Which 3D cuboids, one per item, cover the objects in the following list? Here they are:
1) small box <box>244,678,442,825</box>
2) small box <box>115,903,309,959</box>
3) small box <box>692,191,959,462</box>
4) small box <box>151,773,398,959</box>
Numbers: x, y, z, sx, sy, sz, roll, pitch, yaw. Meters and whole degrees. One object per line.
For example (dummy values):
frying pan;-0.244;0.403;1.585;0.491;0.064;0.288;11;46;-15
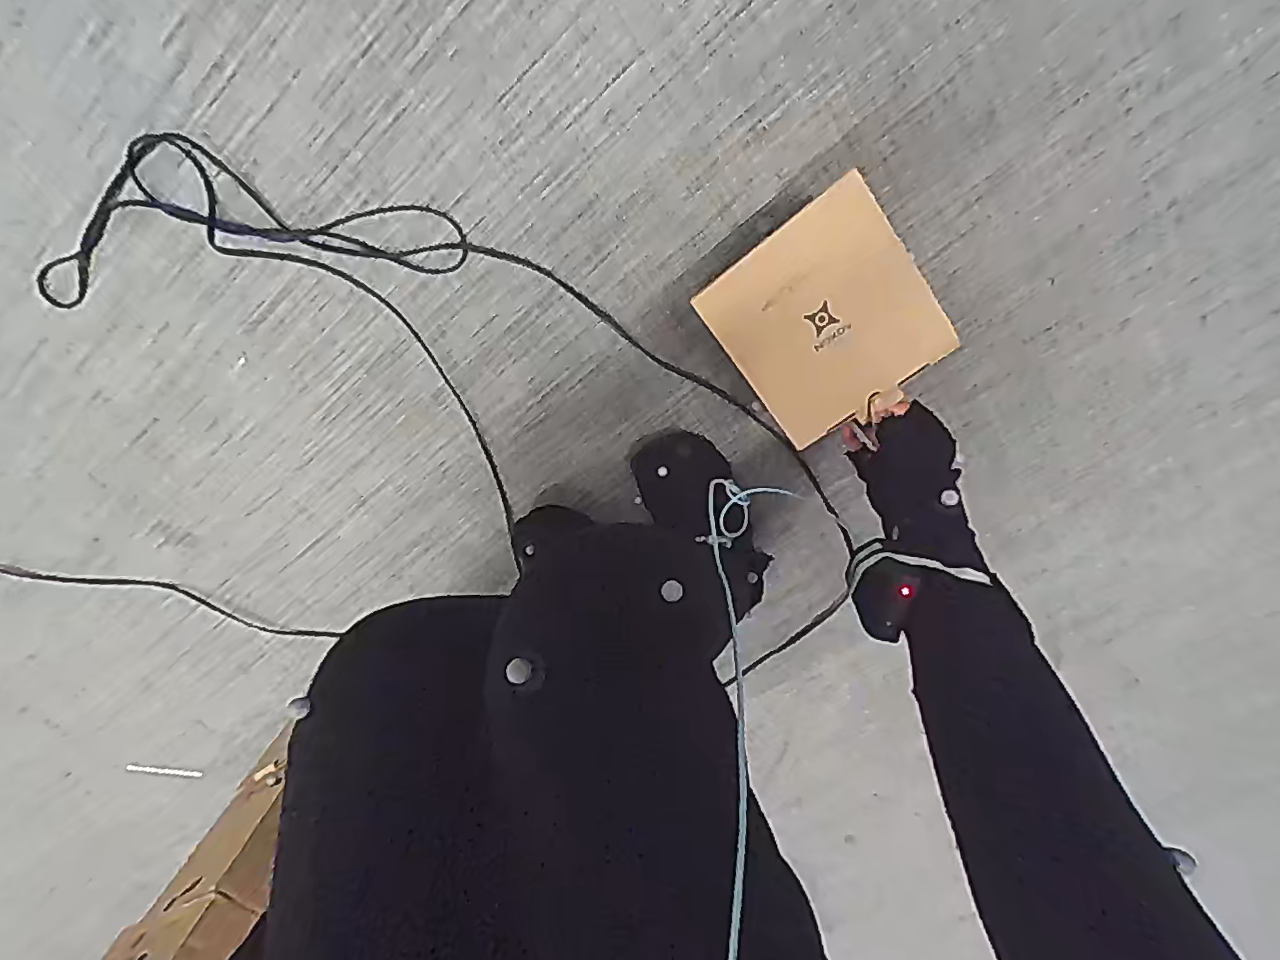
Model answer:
small box;-0.455;0.442;0.854;0.168;0.176;0.179;-36;107;20
small box;-0.477;0.588;0.560;0.168;0.176;0.179;-28;110;15
small box;0.170;-0.153;0.542;0.168;0.176;0.179;-35;103;18
small box;-0.463;0.517;0.706;0.168;0.176;0.179;-33;110;16
